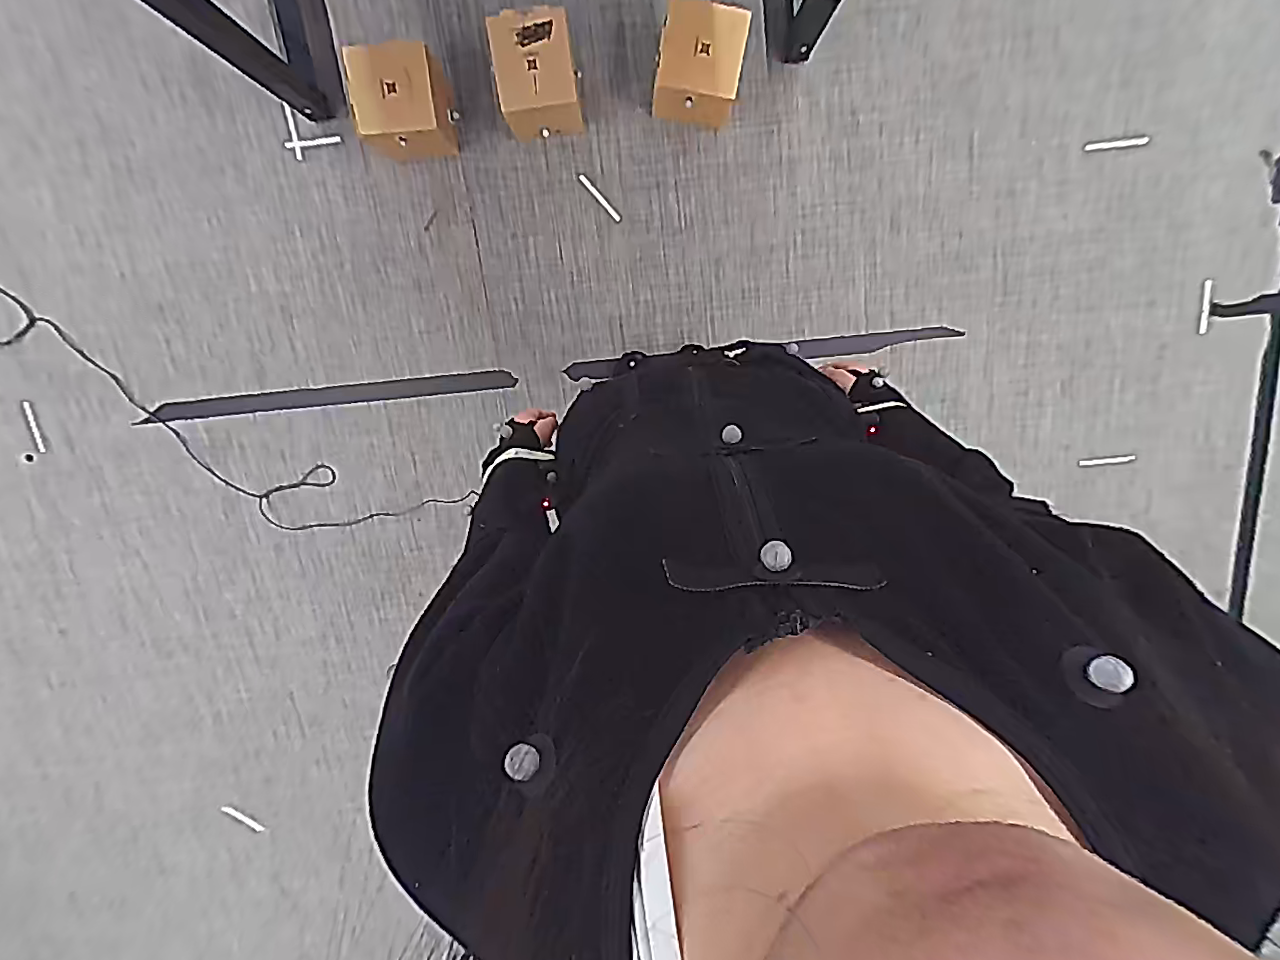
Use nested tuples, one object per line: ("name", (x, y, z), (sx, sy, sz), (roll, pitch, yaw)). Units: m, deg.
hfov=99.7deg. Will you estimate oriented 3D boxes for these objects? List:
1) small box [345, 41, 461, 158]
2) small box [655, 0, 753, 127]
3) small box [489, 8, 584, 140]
("small box", (-0.523, -0.844, 1.216), (0.179, 0.176, 0.168), (-4, 104, 0))
("small box", (0.134, -0.917, 1.204), (0.179, 0.176, 0.168), (11, 104, -2))
("small box", (-0.222, -0.894, 1.205), (0.168, 0.176, 0.179), (-7, 104, 1))
